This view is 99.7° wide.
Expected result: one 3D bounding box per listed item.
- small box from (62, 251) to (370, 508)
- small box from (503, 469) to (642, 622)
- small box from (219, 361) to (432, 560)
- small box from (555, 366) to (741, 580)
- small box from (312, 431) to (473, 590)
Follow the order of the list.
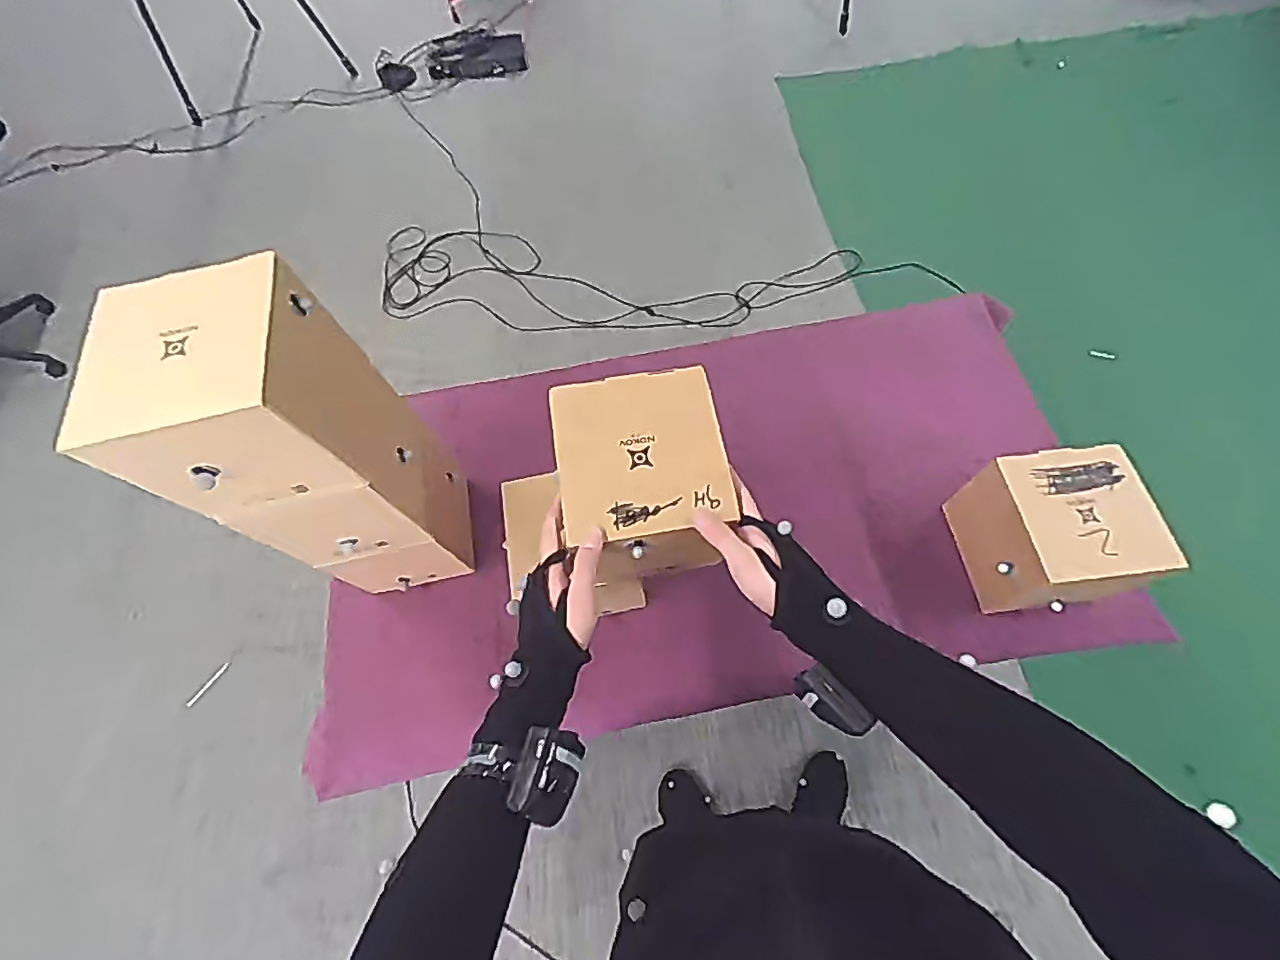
[{"bbox_3d":[-0.389,-0.085,0.535,0.168,0.176,0.179,-13,65,-1],"label":"small box"},{"bbox_3d":[-0.094,0.095,0.791,0.168,0.176,0.179,-11,65,-1],"label":"small box"},{"bbox_3d":[-0.378,-0.018,0.683,0.168,0.176,0.179,-13,66,-1],"label":"small box"},{"bbox_3d":[0.004,0.000,0.603,0.168,0.176,0.179,-9,68,-1],"label":"small box"},{"bbox_3d":[-0.368,0.052,0.830,0.168,0.176,0.179,-12,66,-1],"label":"small box"}]
